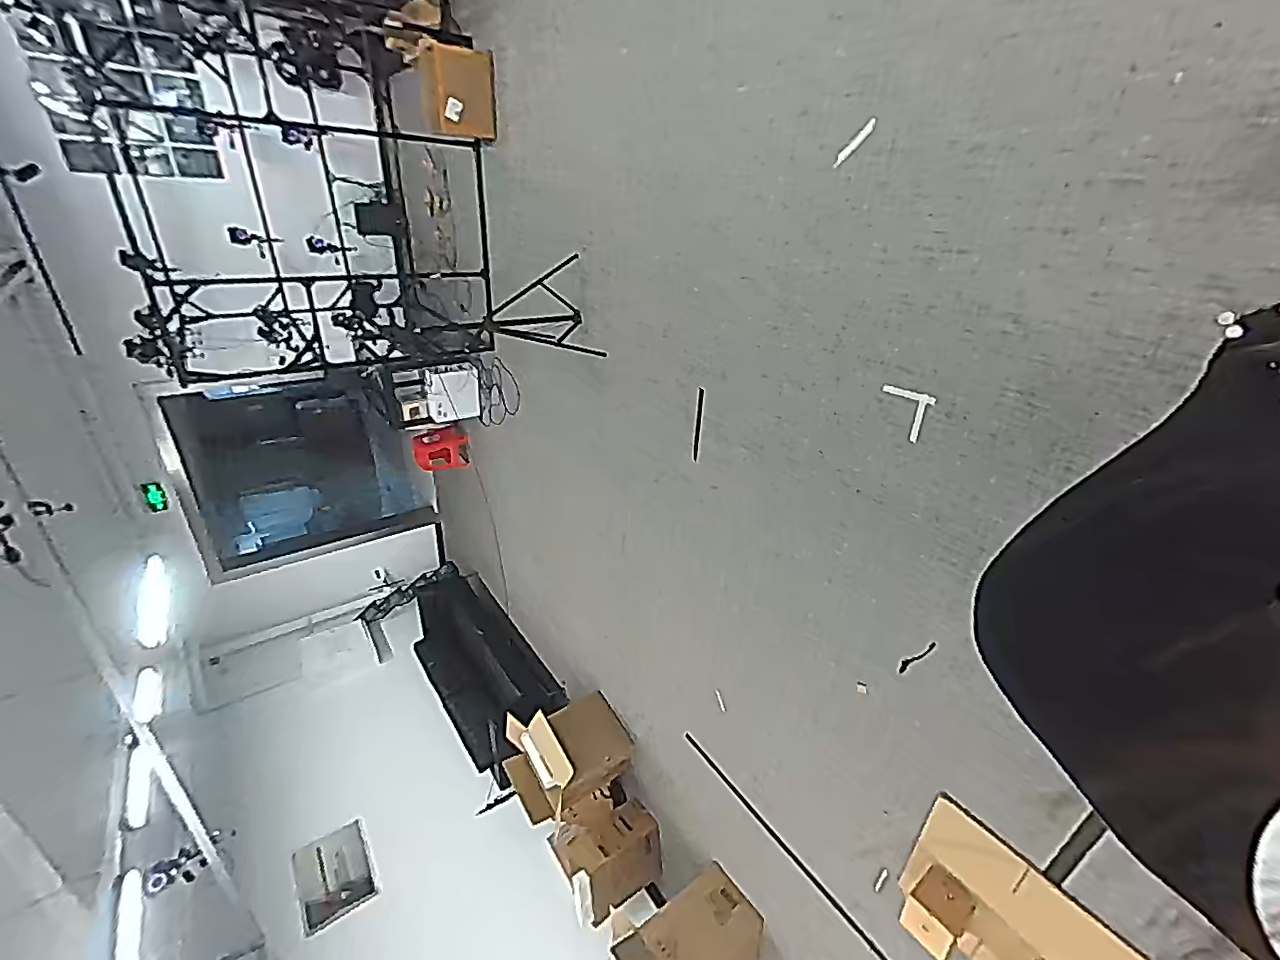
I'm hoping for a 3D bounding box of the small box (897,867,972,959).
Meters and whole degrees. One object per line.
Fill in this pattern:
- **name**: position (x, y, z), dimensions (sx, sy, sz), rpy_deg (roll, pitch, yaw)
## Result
- **small box**: position (1.077, 1.581, 1.975), dimensions (0.168, 0.176, 0.179), rpy_deg (29, 126, 47)
